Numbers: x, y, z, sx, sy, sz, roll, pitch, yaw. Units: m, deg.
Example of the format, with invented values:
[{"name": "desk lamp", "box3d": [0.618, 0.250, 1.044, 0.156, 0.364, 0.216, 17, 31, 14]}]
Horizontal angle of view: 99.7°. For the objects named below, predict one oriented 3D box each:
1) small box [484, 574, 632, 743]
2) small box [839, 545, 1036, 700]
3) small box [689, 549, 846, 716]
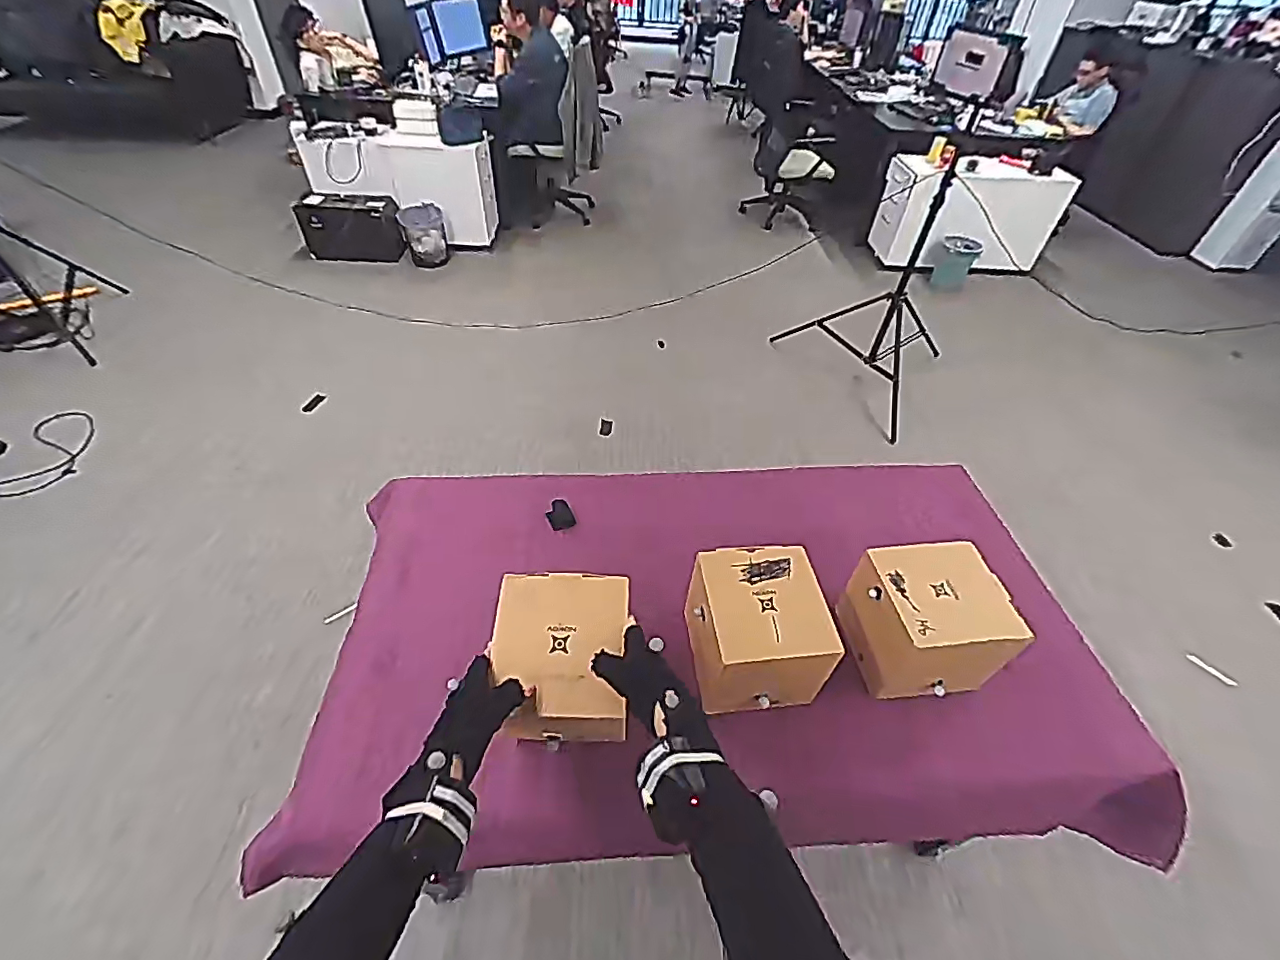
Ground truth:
[{"name": "small box", "box3d": [-0.096, 0.240, 0.720, 0.168, 0.176, 0.179, 0, 56, 0]}, {"name": "small box", "box3d": [0.435, 0.218, 0.826, 0.179, 0.176, 0.168, -3, 45, -7]}, {"name": "small box", "box3d": [0.172, 0.224, 0.802, 0.168, 0.176, 0.179, -3, 46, -7]}]
